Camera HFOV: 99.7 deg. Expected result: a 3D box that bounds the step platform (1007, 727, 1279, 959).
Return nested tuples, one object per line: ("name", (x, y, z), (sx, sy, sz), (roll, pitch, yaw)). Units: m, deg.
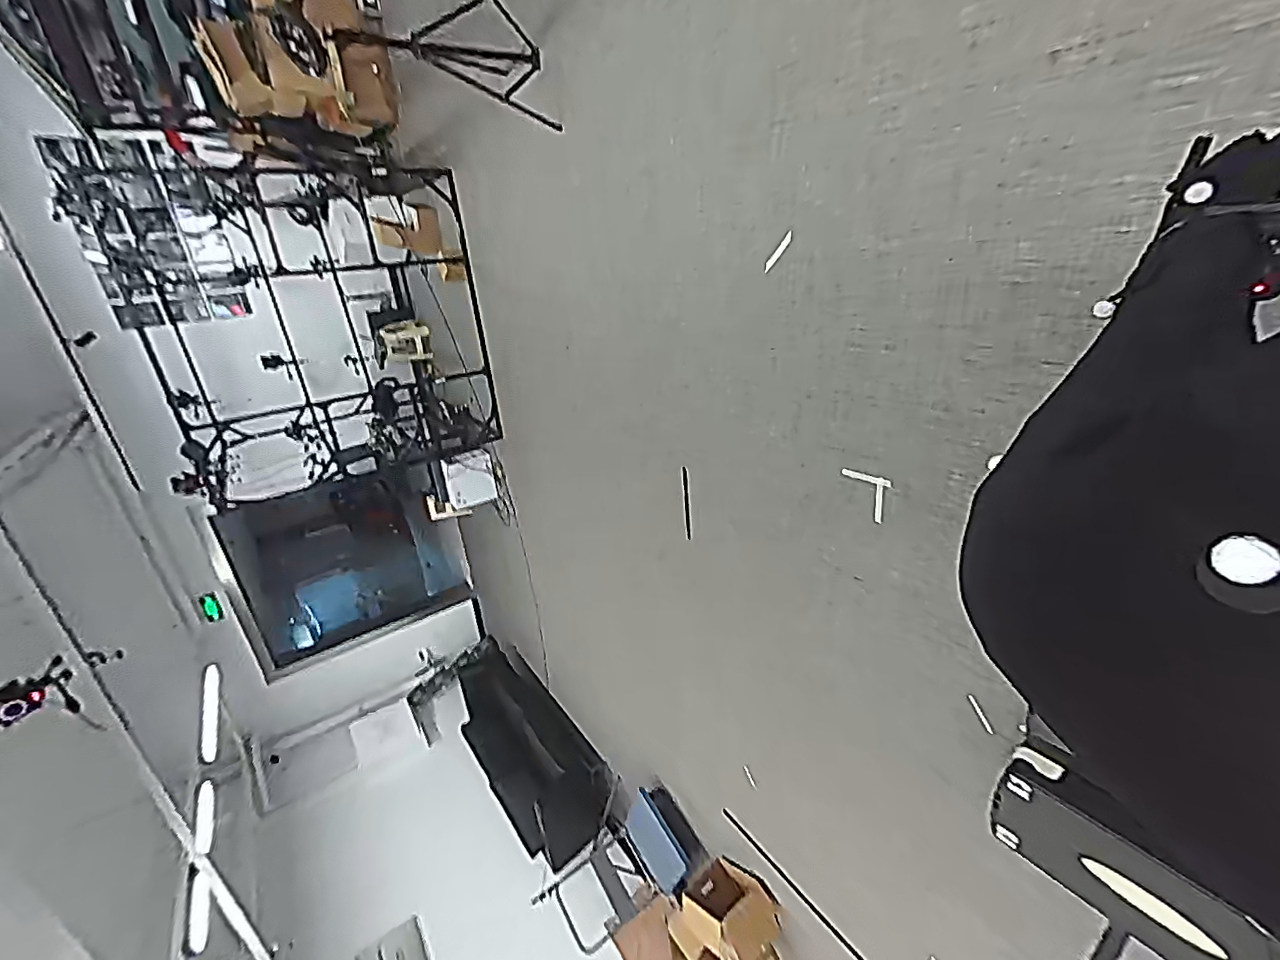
("step platform", (1.259, 0.911, 1.250), (0.684, 0.204, 0.286), (26, 128, 52))
